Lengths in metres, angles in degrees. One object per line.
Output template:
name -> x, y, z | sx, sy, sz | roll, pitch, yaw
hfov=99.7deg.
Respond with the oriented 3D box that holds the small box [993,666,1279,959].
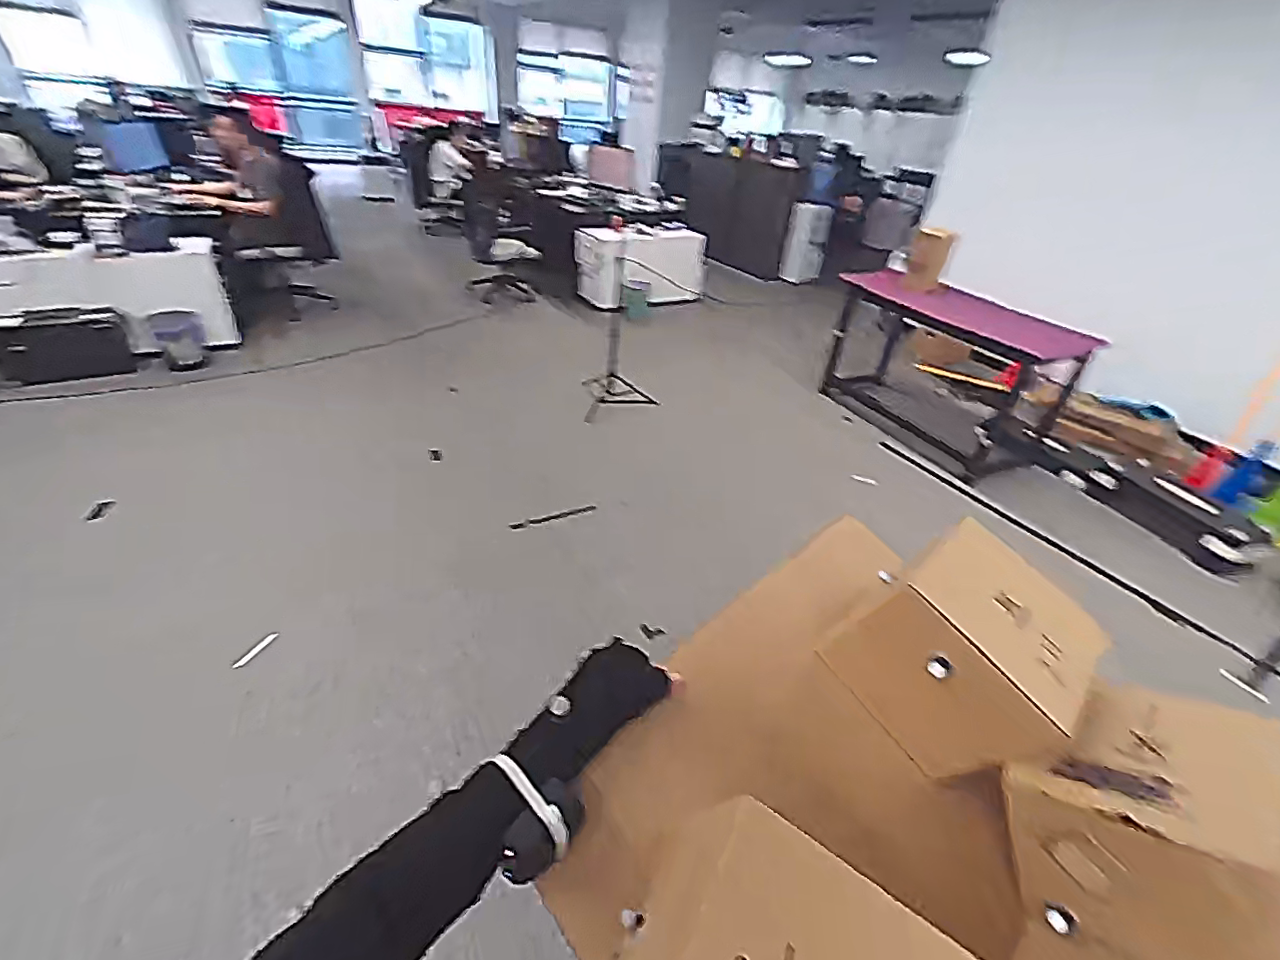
small box -> 0.457, 0.310, 0.498 | 0.179, 0.176, 0.168 | -25, 15, -36
